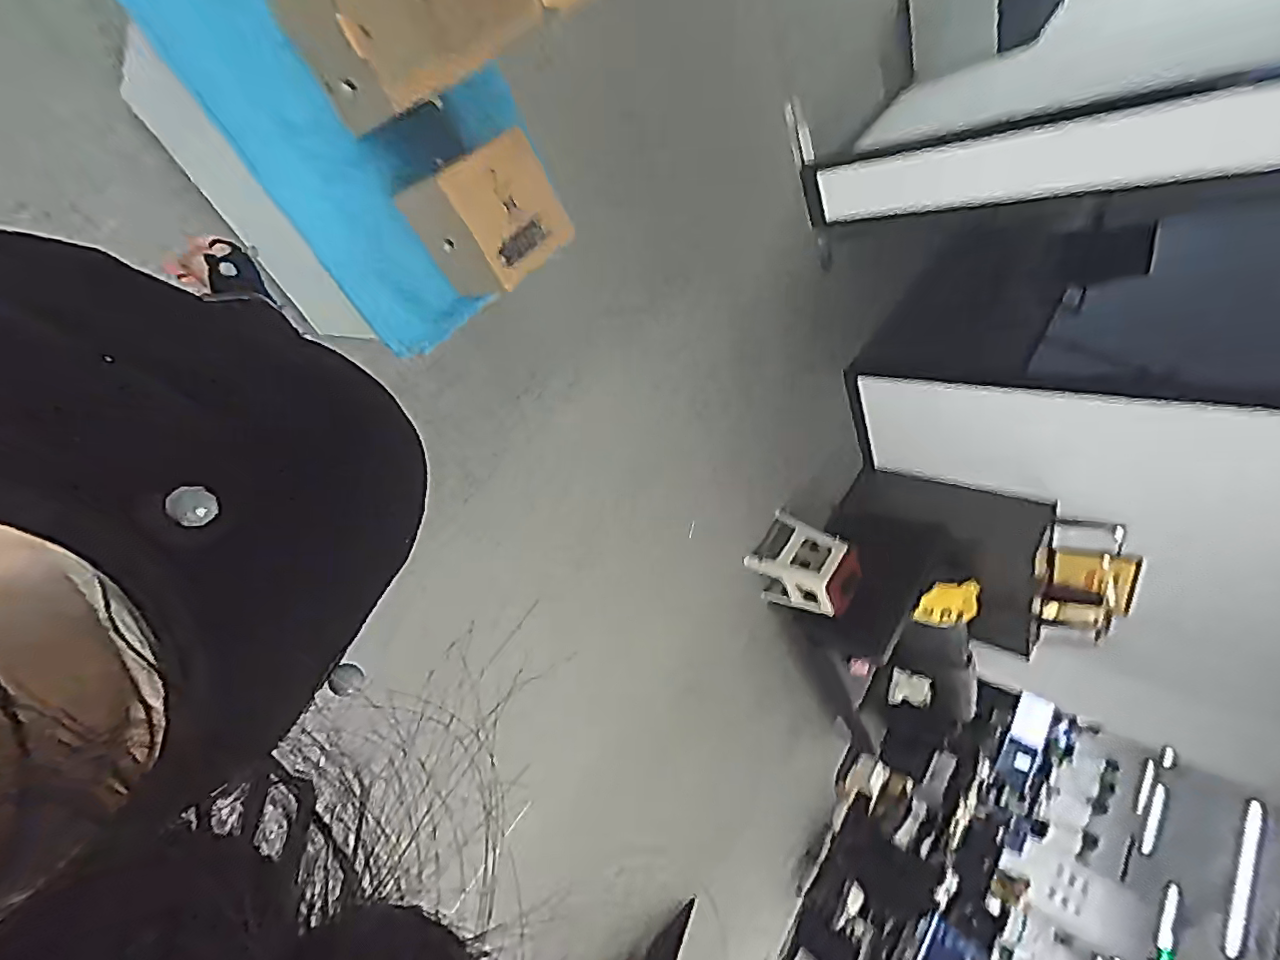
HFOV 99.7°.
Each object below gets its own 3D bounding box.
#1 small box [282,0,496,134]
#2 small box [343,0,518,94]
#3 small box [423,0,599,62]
[{"bbox_3d":[-0.334,-0.588,0.713,0.179,0.176,0.168,-48,133,-25],"label":"small box"},{"bbox_3d":[-0.224,-0.562,0.596,0.179,0.176,0.168,-47,132,-26],"label":"small box"},{"bbox_3d":[-0.113,-0.515,0.485,0.179,0.176,0.168,-47,132,-26],"label":"small box"}]
